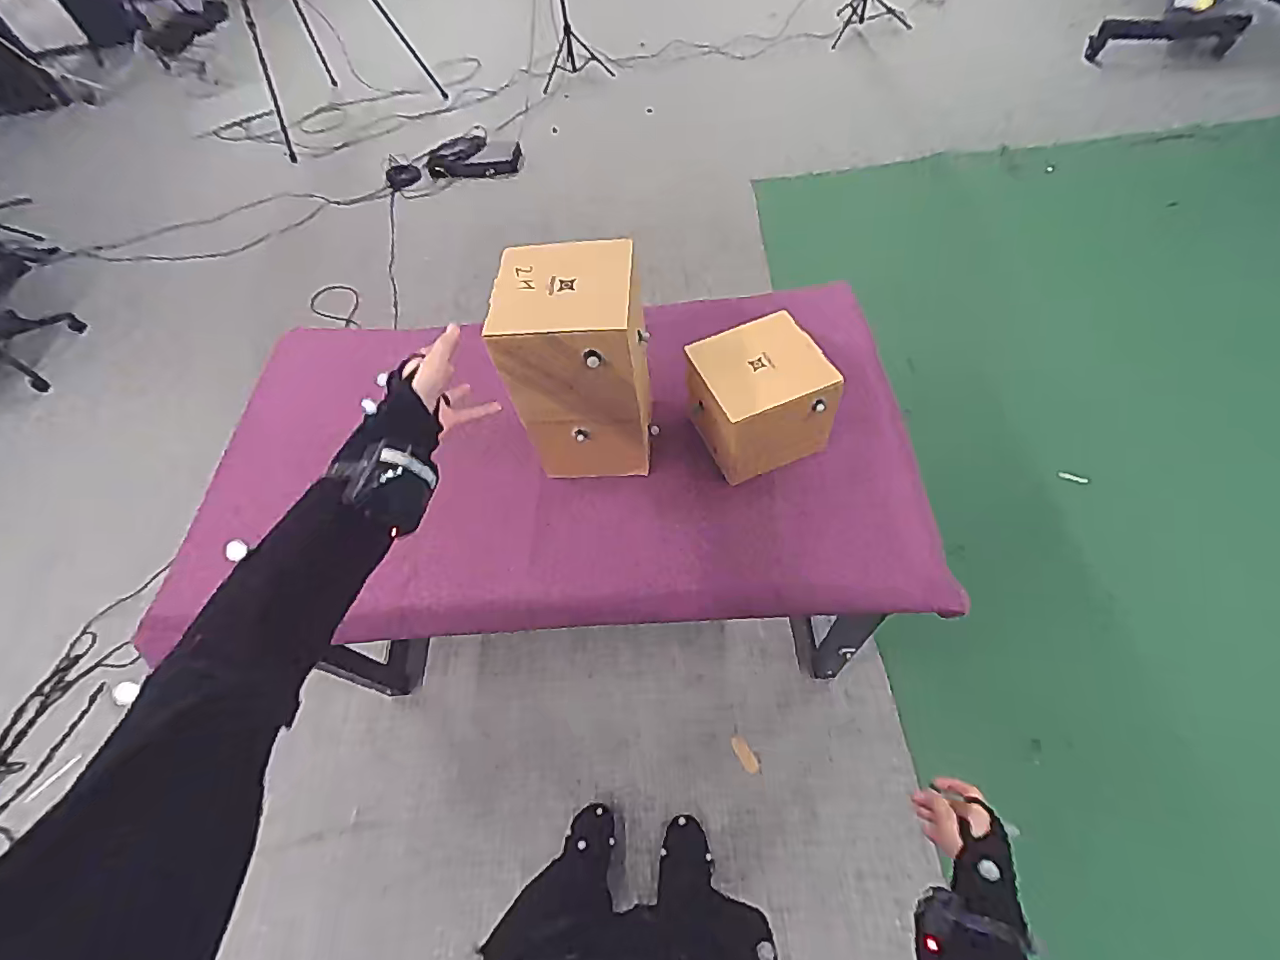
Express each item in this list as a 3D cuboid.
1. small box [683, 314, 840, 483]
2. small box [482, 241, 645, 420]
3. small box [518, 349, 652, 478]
[{"bbox_3d":[0.181,-0.121,0.847,0.179,0.176,0.168,-21,57,-7],"label":"small box"},{"bbox_3d":[-0.087,-0.194,0.727,0.179,0.176,0.168,-1,57,6],"label":"small box"},{"bbox_3d":[-0.077,-0.113,0.871,0.179,0.176,0.168,-1,58,6],"label":"small box"}]
